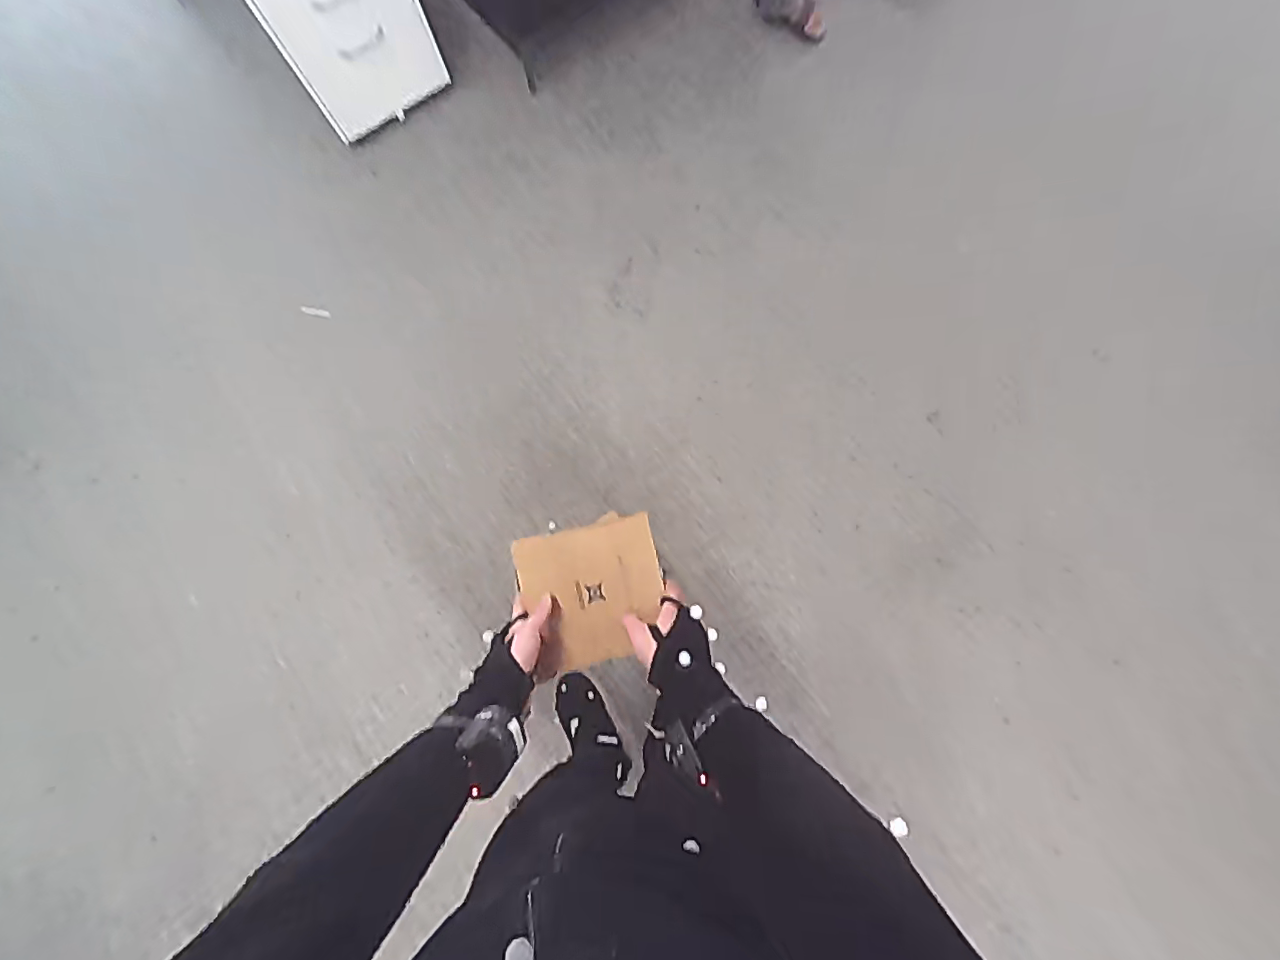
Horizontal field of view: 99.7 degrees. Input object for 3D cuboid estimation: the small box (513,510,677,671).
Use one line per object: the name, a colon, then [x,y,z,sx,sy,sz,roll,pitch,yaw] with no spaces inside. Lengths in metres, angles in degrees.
small box: [-0.053,0.140,0.737,0.179,0.176,0.168,-14,87,0]
